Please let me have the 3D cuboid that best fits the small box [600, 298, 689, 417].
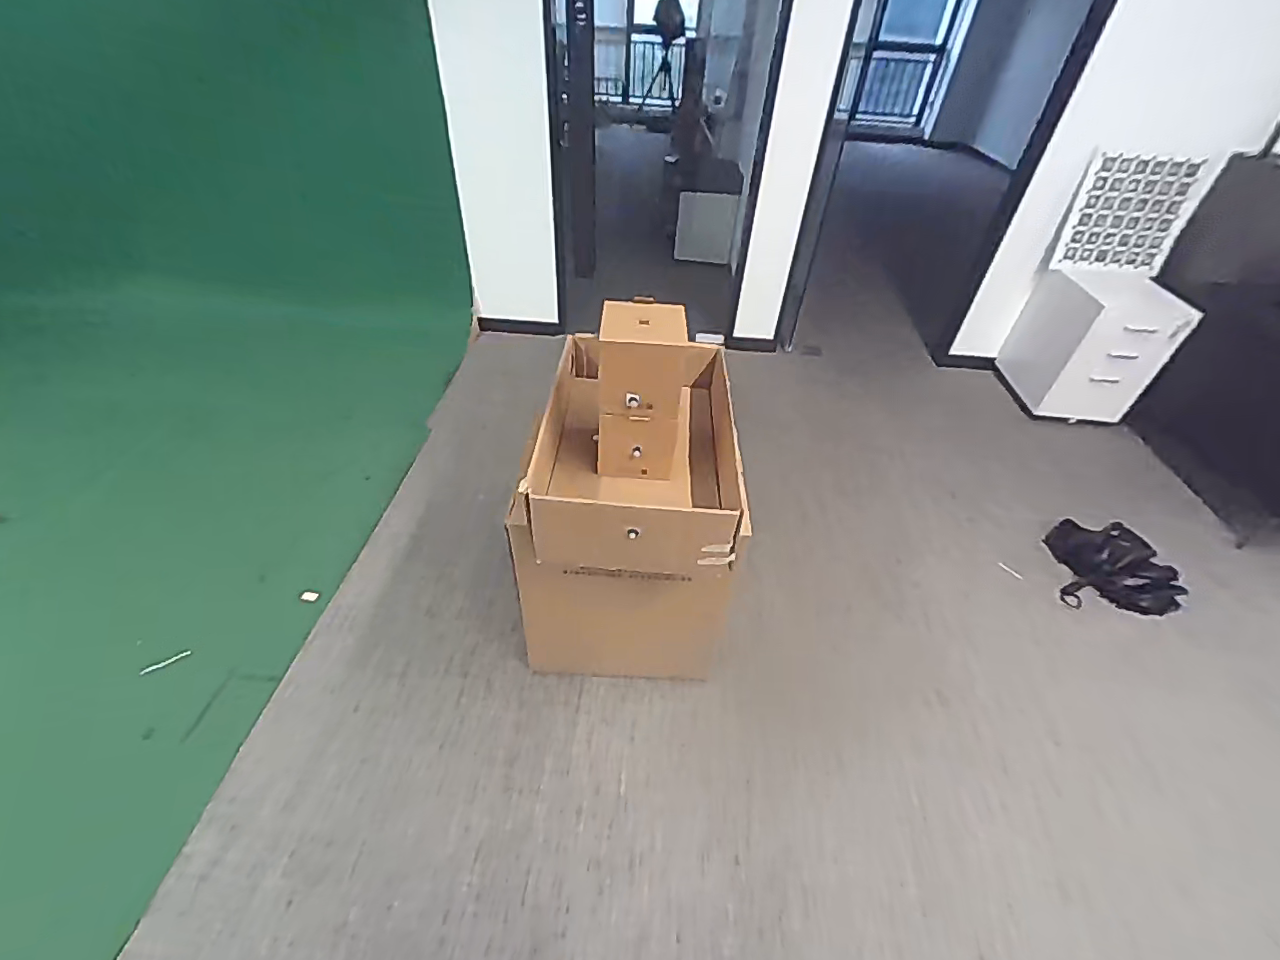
[{"bbox_3d":[0.006,-0.250,1.100,0.168,0.176,0.179,2,43,-2],"label":"small box"}]
